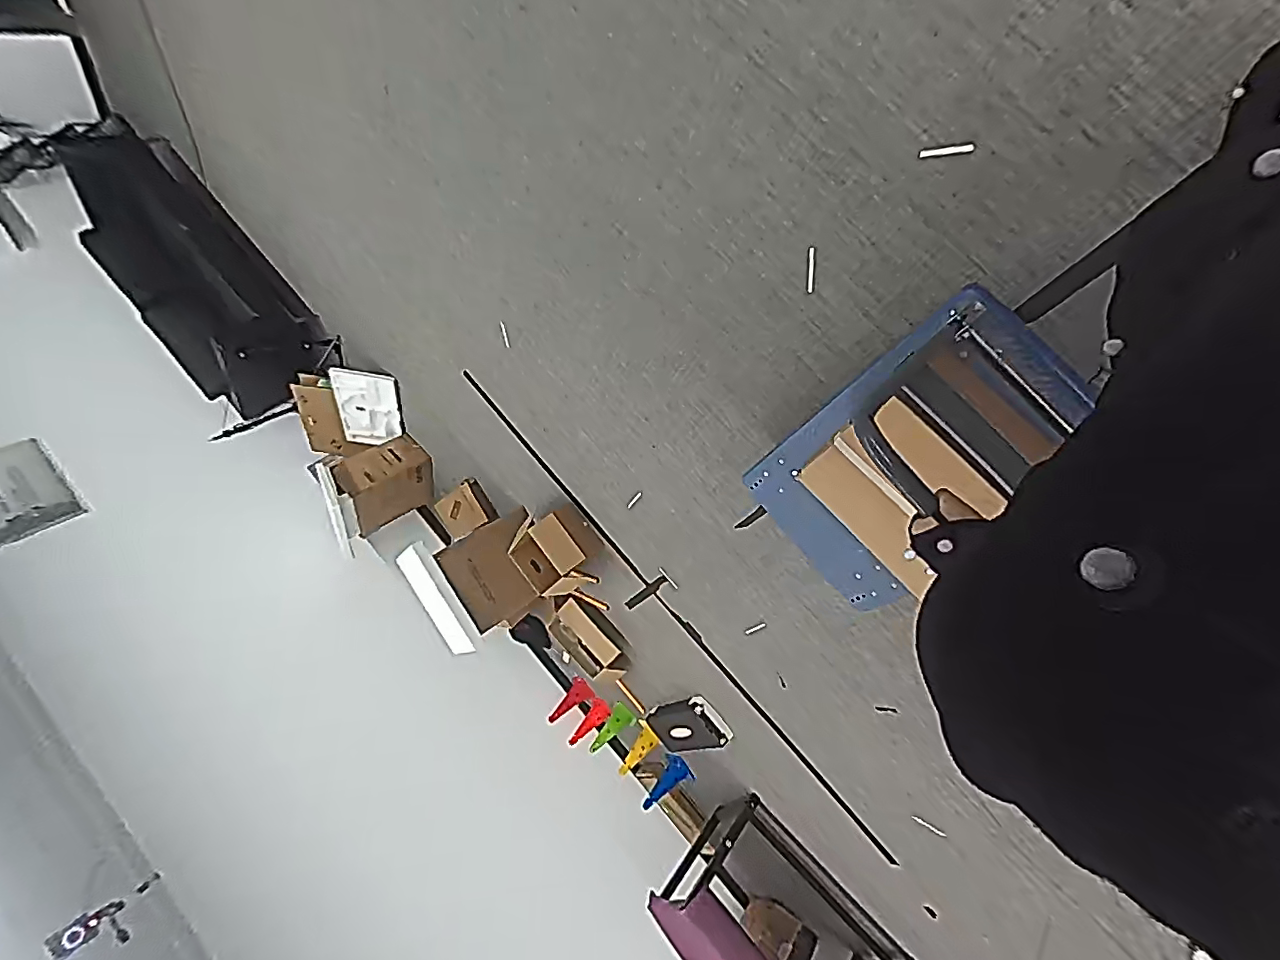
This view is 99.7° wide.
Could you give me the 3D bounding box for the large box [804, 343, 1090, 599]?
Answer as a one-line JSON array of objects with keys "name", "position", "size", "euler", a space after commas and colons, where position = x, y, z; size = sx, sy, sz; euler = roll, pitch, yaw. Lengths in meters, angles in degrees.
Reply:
[{"name": "large box", "position": [0.663, -0.023, 1.193], "size": [0.408, 0.320, 0.320], "euler": [47, 141, 11]}]
